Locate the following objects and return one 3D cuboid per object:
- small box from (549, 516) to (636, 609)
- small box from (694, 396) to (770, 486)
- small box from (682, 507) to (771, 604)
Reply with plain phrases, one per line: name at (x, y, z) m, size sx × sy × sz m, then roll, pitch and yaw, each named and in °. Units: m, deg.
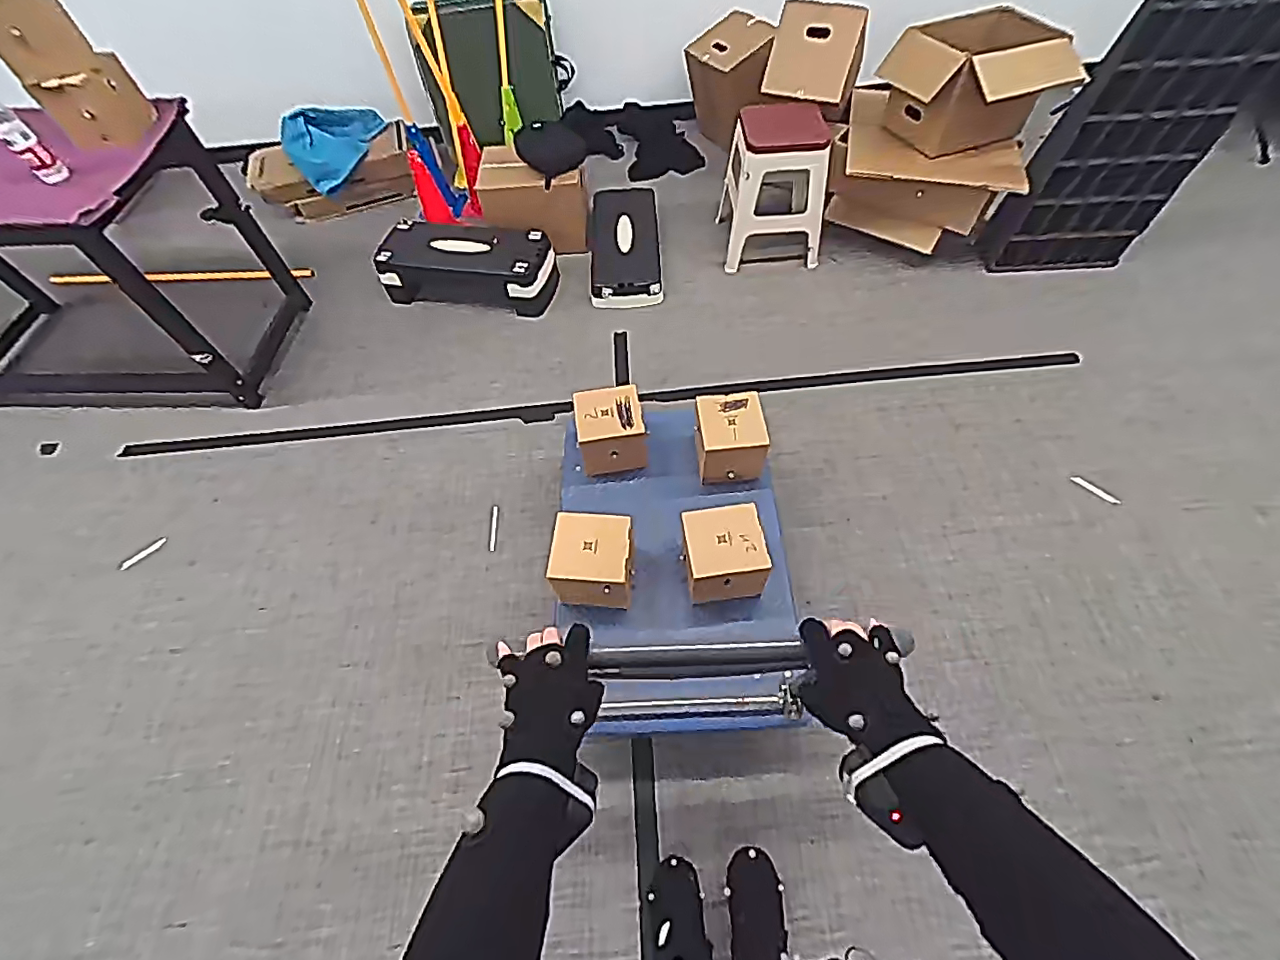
small box at (-0.106, 0.201, 1.291) m, size 0.179 × 0.176 × 0.168 m, roll 3°, pitch 58°, yaw 4°
small box at (0.240, -0.103, 1.460) m, size 0.168 × 0.176 × 0.179 m, roll -5°, pitch 59°, yaw 0°
small box at (0.197, 0.184, 1.283) m, size 0.179 × 0.176 × 0.168 m, roll -8°, pitch 58°, yaw -1°
